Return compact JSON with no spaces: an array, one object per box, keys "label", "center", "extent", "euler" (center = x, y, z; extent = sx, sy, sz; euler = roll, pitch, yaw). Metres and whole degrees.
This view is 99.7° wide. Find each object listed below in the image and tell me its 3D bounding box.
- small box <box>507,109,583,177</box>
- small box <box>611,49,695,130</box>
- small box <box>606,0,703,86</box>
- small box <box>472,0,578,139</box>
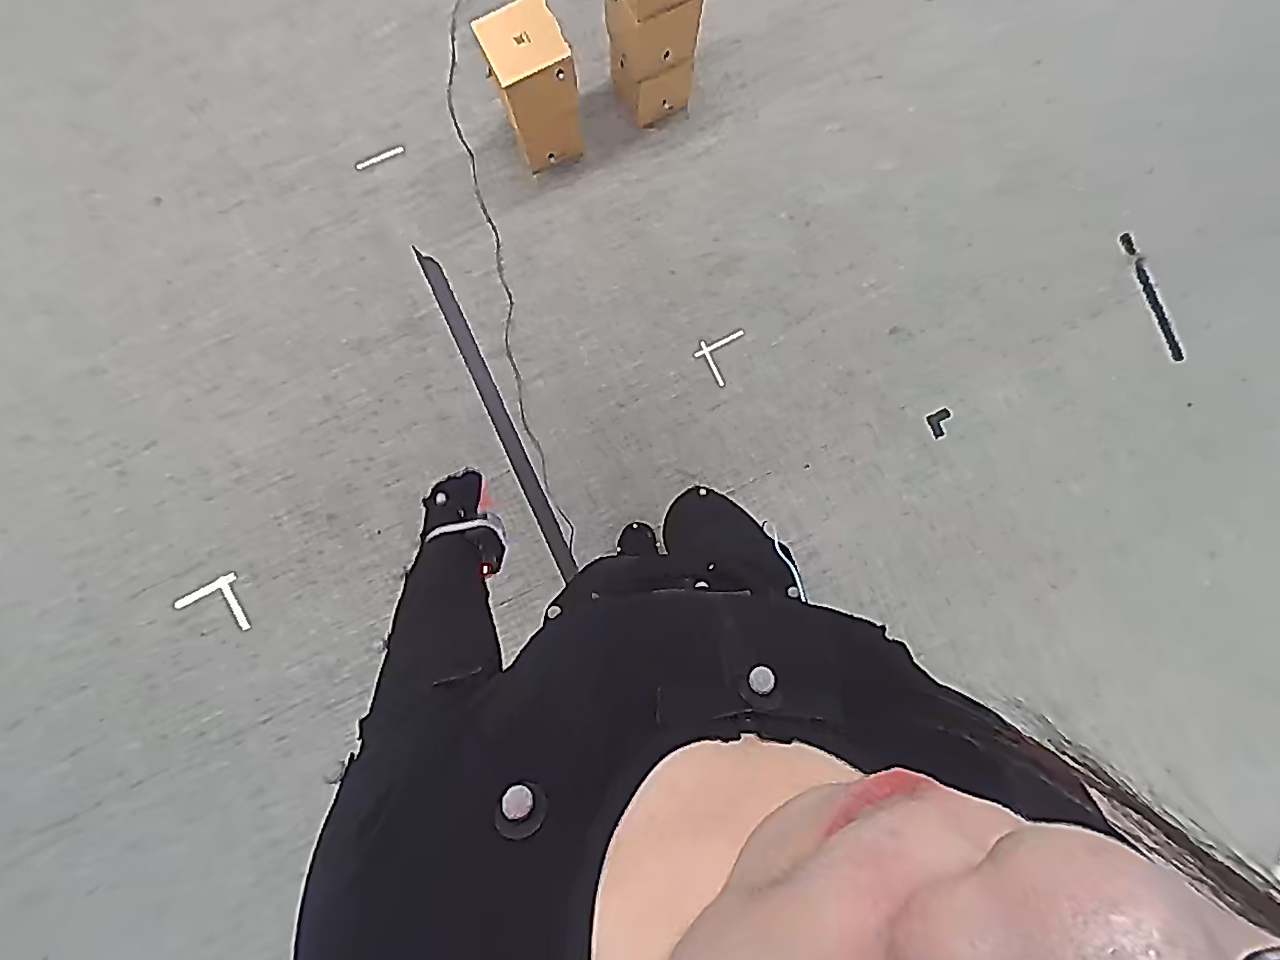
[{"label":"small box","center":[-0.261,-0.959,1.443],"extent":[0.168,0.176,0.179],"euler":[-24,90,-2]},{"label":"small box","center":[0.027,-1.099,1.455],"extent":[0.168,0.176,0.179],"euler":[-27,90,-2]},{"label":"small box","center":[0.026,-1.103,1.291],"extent":[0.179,0.176,0.168],"euler":[-28,89,-3]},{"label":"small box","center":[-0.263,-0.959,1.281],"extent":[0.179,0.176,0.168],"euler":[-28,89,-2]}]
